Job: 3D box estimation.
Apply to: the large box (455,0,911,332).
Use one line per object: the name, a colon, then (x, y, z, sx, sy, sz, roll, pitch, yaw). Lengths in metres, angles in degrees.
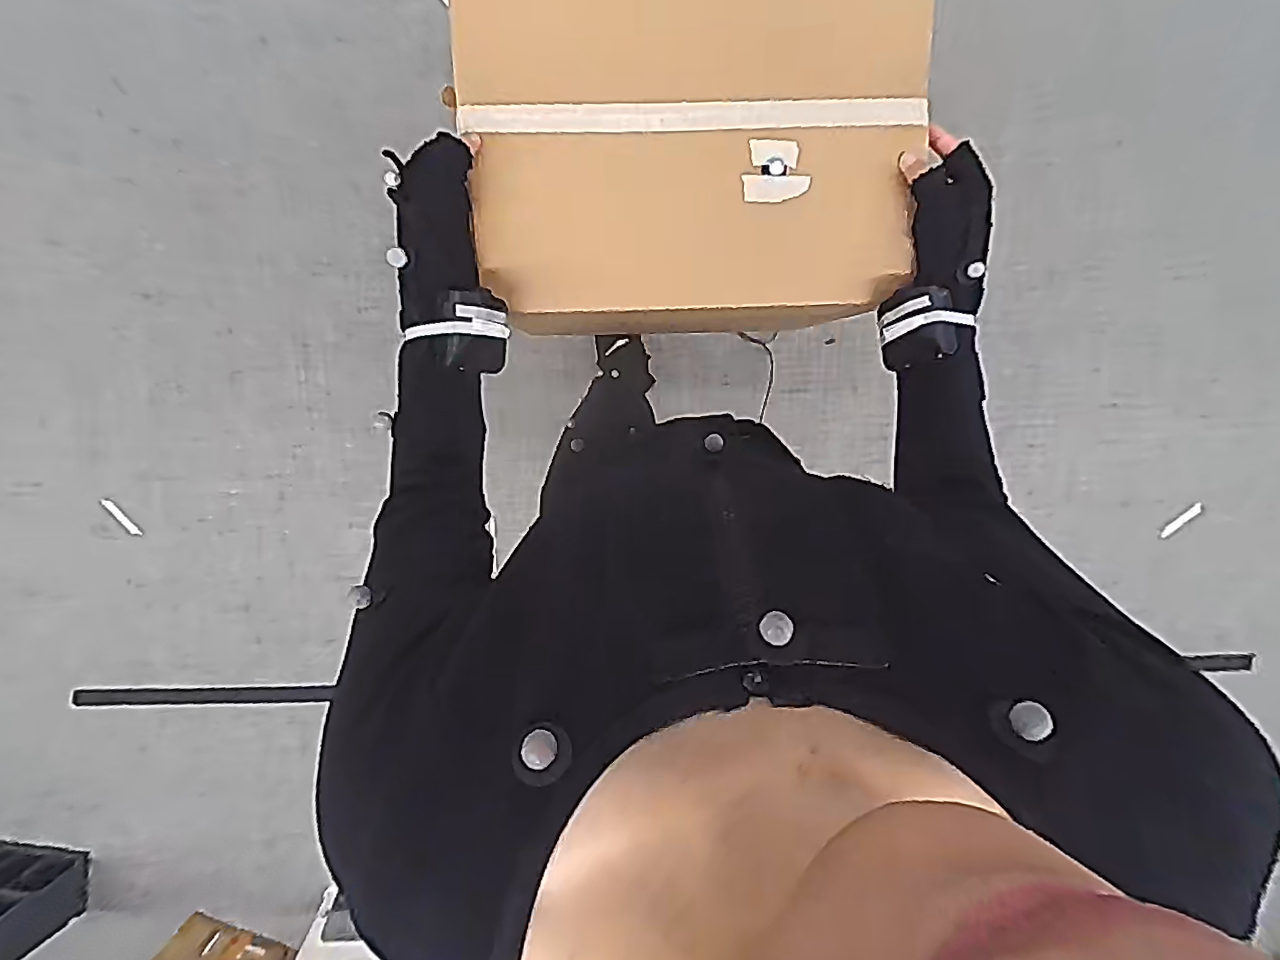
large box: (0.036, -0.353, 0.631, 0.408, 0.320, 0.320, -3, 102, -3)
